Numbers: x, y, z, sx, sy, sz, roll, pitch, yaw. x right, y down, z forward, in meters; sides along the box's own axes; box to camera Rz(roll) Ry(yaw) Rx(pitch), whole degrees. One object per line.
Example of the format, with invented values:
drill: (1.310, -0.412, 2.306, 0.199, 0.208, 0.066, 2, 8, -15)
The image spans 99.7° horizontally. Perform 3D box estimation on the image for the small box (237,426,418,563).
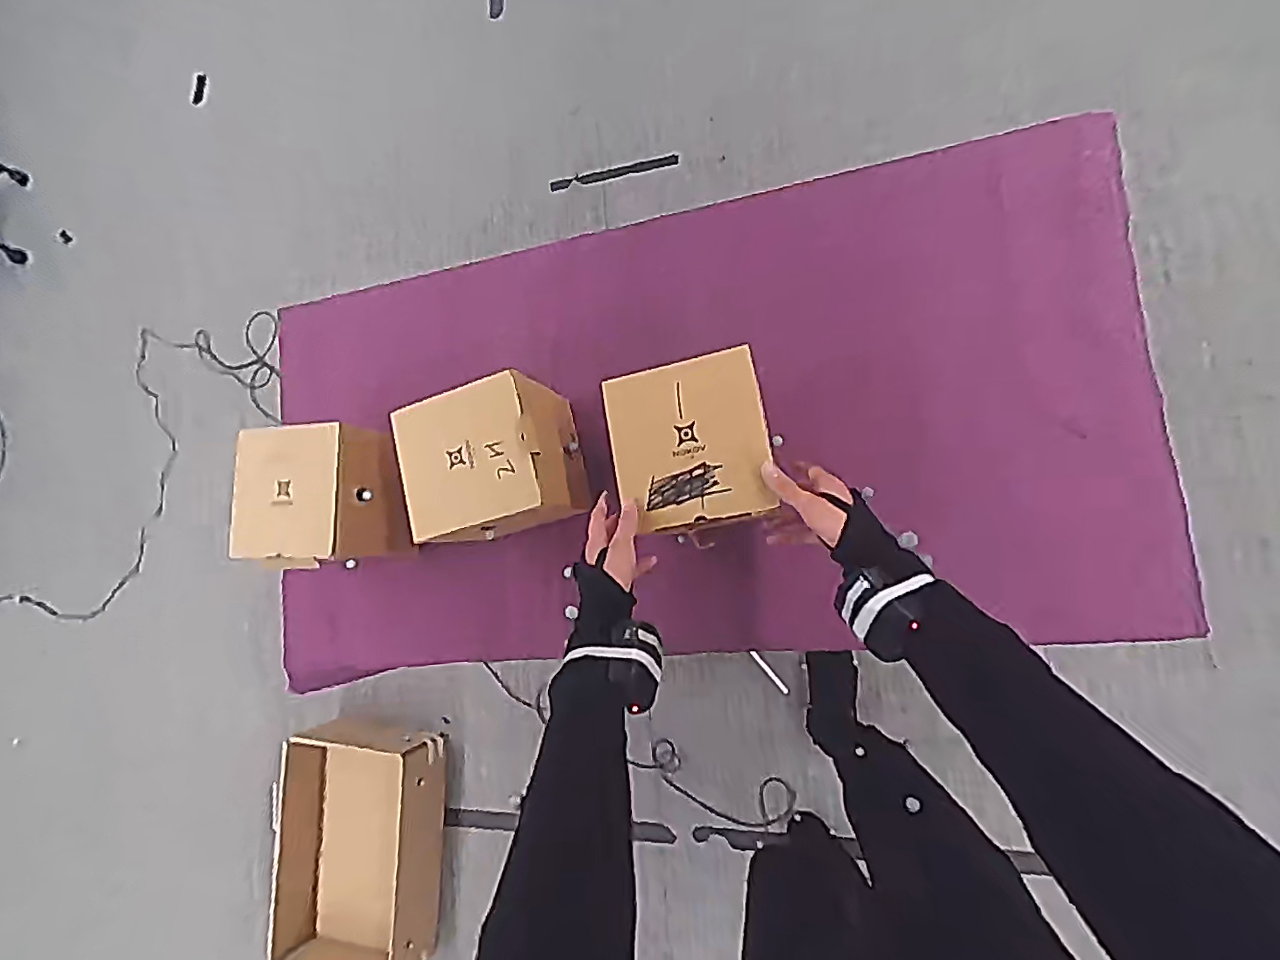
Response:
small box: (-0.433, 0.025, 0.777, 0.168, 0.176, 0.179, -2, 84, 14)

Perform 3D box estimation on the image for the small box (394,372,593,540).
small box: (-0.184, -0.019, 0.712, 0.179, 0.176, 0.168, -16, 81, 13)

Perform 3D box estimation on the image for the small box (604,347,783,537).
small box: (0.072, -0.032, 0.643, 0.168, 0.176, 0.179, -12, 81, 14)
